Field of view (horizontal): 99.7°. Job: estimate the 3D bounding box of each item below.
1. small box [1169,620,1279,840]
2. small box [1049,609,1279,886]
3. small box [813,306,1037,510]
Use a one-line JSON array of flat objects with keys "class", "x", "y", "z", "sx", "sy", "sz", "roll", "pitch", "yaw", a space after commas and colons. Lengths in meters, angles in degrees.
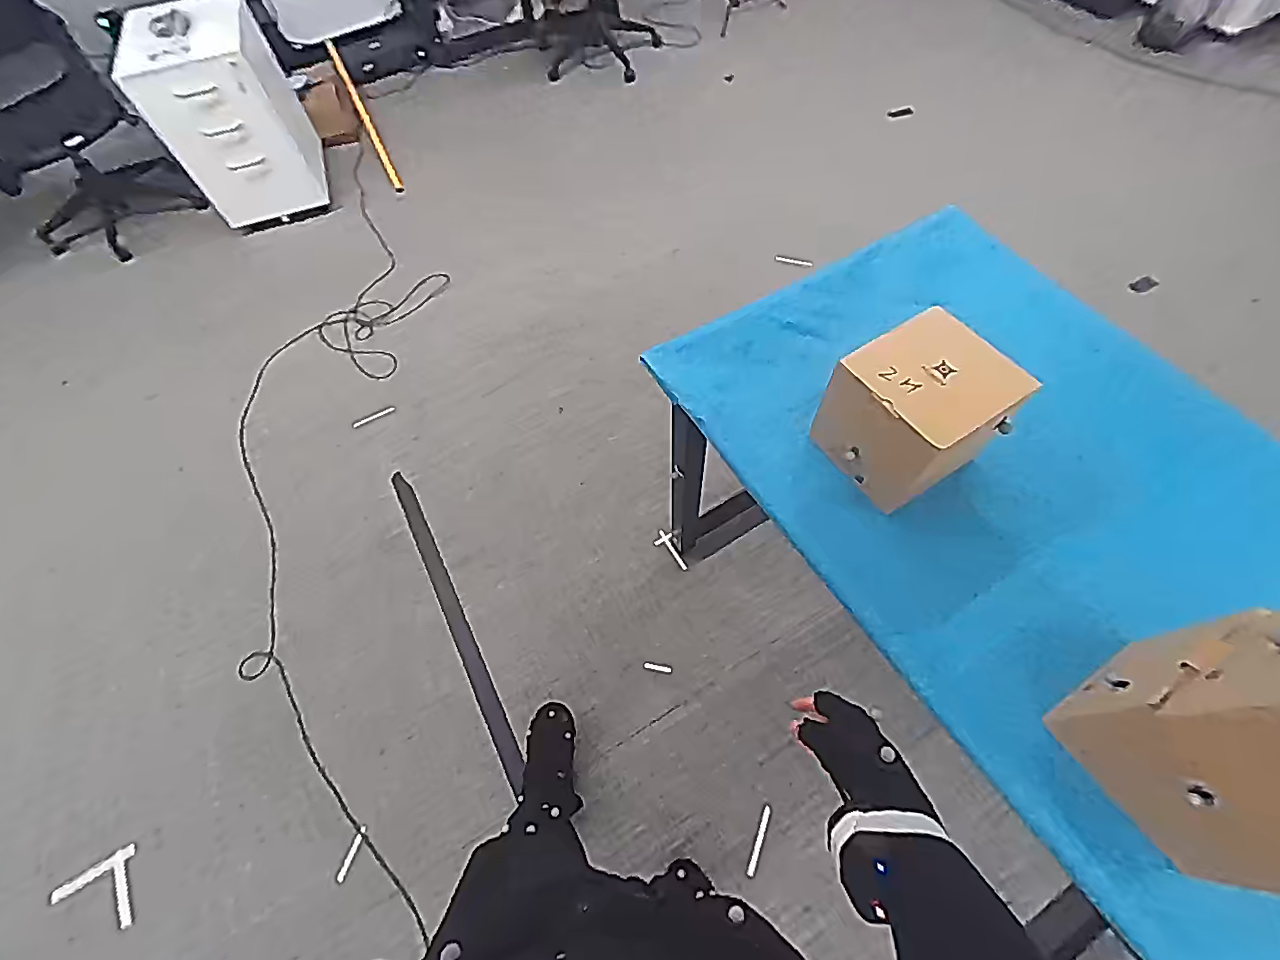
[{"class": "small box", "x": 0.551, "y": 0.191, "z": 0.376, "sx": 0.168, "sy": 0.176, "sz": 0.179, "roll": -33, "pitch": 65, "yaw": -14}, {"class": "small box", "x": 0.561, "y": 0.259, "z": 0.523, "sx": 0.168, "sy": 0.176, "sz": 0.179, "roll": -29, "pitch": 64, "yaw": -11}, {"class": "small box", "x": 0.361, "y": -0.090, "z": 0.725, "sx": 0.179, "sy": 0.176, "sz": 0.168, "roll": -28, "pitch": 62, "yaw": -9}]
